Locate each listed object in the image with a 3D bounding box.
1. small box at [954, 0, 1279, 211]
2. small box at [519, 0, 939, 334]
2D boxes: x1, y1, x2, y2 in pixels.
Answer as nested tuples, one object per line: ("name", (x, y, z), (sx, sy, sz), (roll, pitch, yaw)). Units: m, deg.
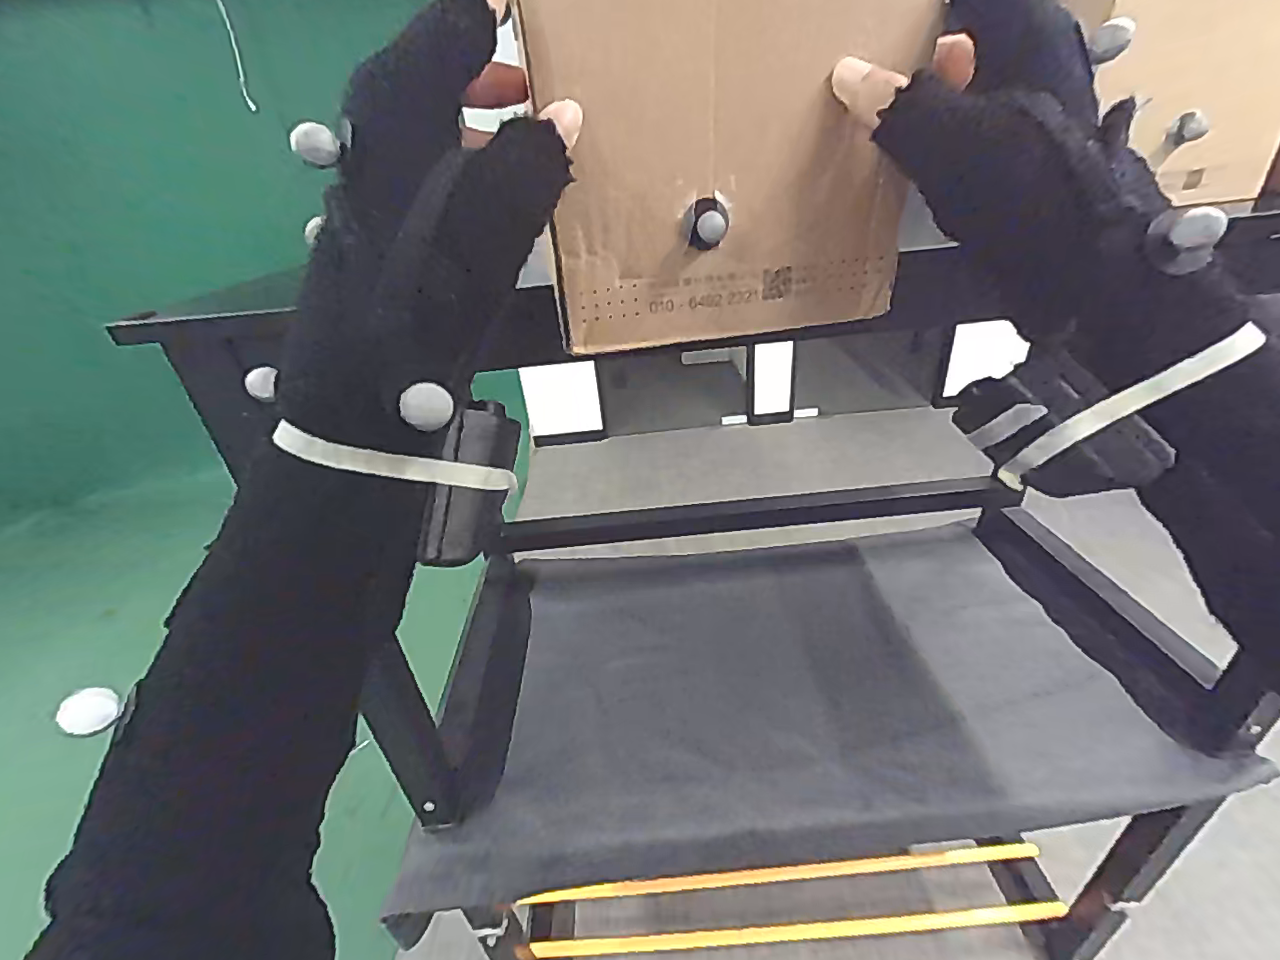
("small box", (0.408, -0.335, 0.470), (0.168, 0.176, 0.179), (-6, 30, 0))
("small box", (0.026, -0.191, 0.294), (0.168, 0.176, 0.179), (-9, 34, -6))
